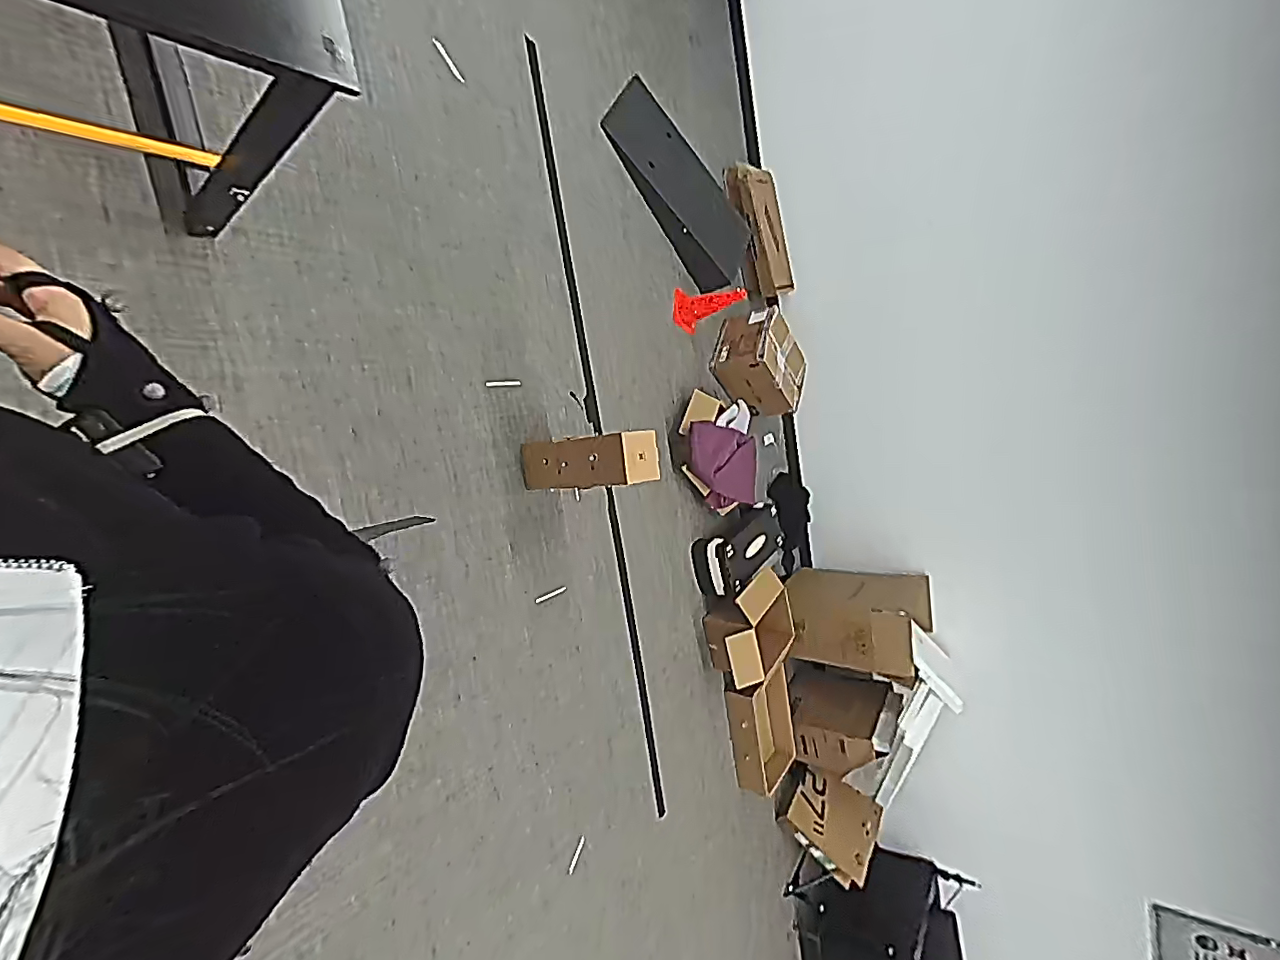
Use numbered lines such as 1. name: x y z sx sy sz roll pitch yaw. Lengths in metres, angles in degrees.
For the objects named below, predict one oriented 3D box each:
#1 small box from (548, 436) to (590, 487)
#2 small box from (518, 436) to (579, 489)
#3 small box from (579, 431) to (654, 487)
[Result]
1. small box: -0.196 -0.066 1.884 0.179 0.176 0.168 -11 96 -51
2. small box: -0.329 -0.064 1.981 0.168 0.176 0.179 -11 96 -51
3. small box: -0.076 -0.071 1.773 0.179 0.176 0.168 -11 95 -51
